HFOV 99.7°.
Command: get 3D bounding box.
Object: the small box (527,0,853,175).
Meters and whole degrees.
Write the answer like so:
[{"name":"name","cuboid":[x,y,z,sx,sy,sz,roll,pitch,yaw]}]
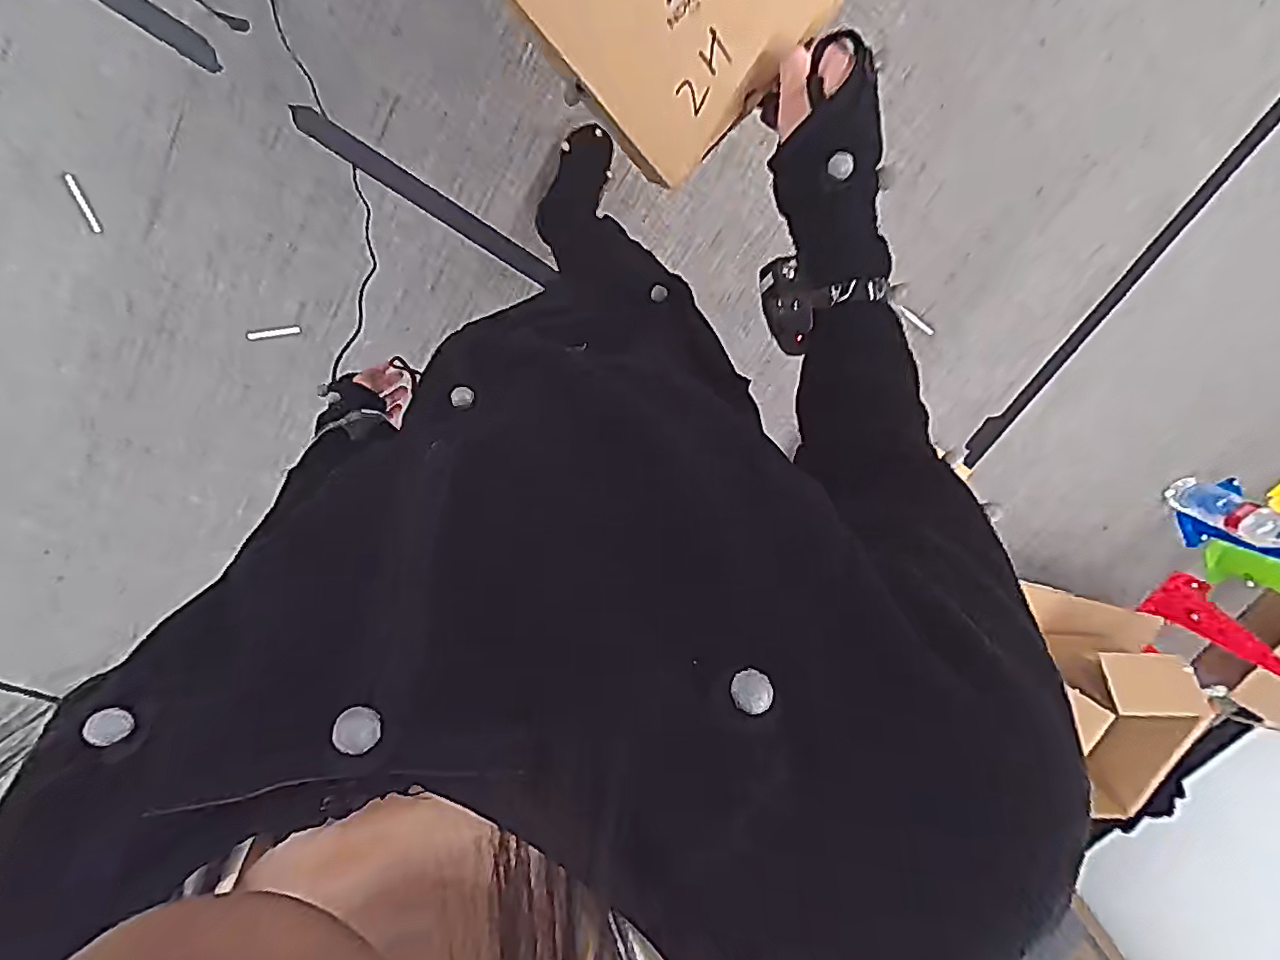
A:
[{"name":"small box","cuboid":[0.023,-0.368,0.418,0.168,0.176,0.179,-41,117,18]}]
